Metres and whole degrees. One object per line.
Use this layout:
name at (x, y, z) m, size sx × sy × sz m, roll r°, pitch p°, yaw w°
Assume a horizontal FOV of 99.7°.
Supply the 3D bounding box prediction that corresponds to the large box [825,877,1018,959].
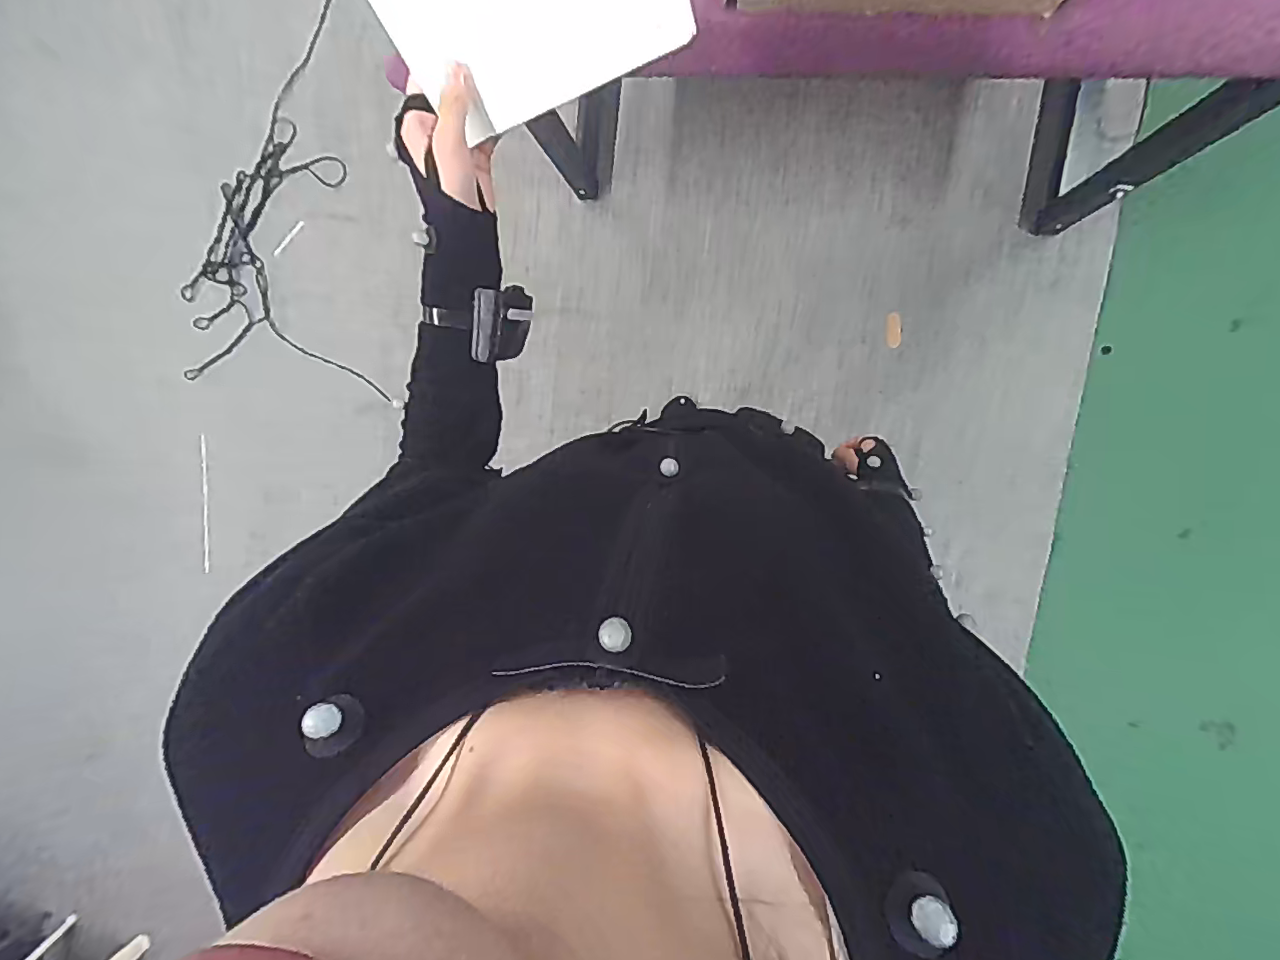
large box at (0.726, 1.287, 1.392) m, size 0.408 × 0.320 × 0.320 m, roll -7°, pitch 96°, yaw 9°
